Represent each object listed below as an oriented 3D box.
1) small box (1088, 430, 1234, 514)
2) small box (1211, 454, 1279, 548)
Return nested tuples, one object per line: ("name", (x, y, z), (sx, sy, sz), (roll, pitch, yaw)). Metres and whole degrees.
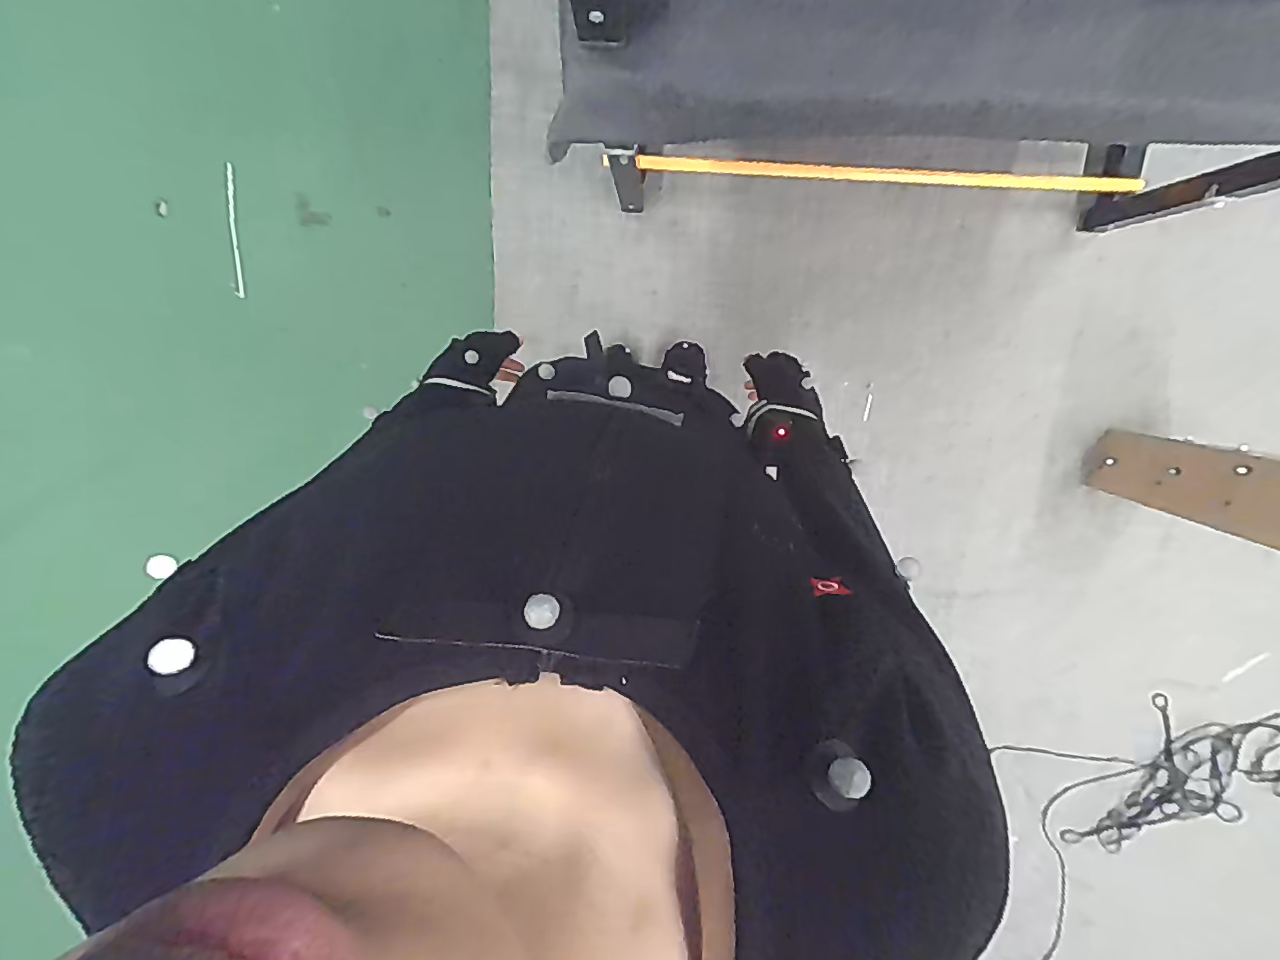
("small box", (1.303, -0.027, 1.367), (0.179, 0.176, 0.168), (9, 103, 0))
("small box", (1.294, 0.050, 1.050), (0.179, 0.176, 0.168), (7, 105, 0))
